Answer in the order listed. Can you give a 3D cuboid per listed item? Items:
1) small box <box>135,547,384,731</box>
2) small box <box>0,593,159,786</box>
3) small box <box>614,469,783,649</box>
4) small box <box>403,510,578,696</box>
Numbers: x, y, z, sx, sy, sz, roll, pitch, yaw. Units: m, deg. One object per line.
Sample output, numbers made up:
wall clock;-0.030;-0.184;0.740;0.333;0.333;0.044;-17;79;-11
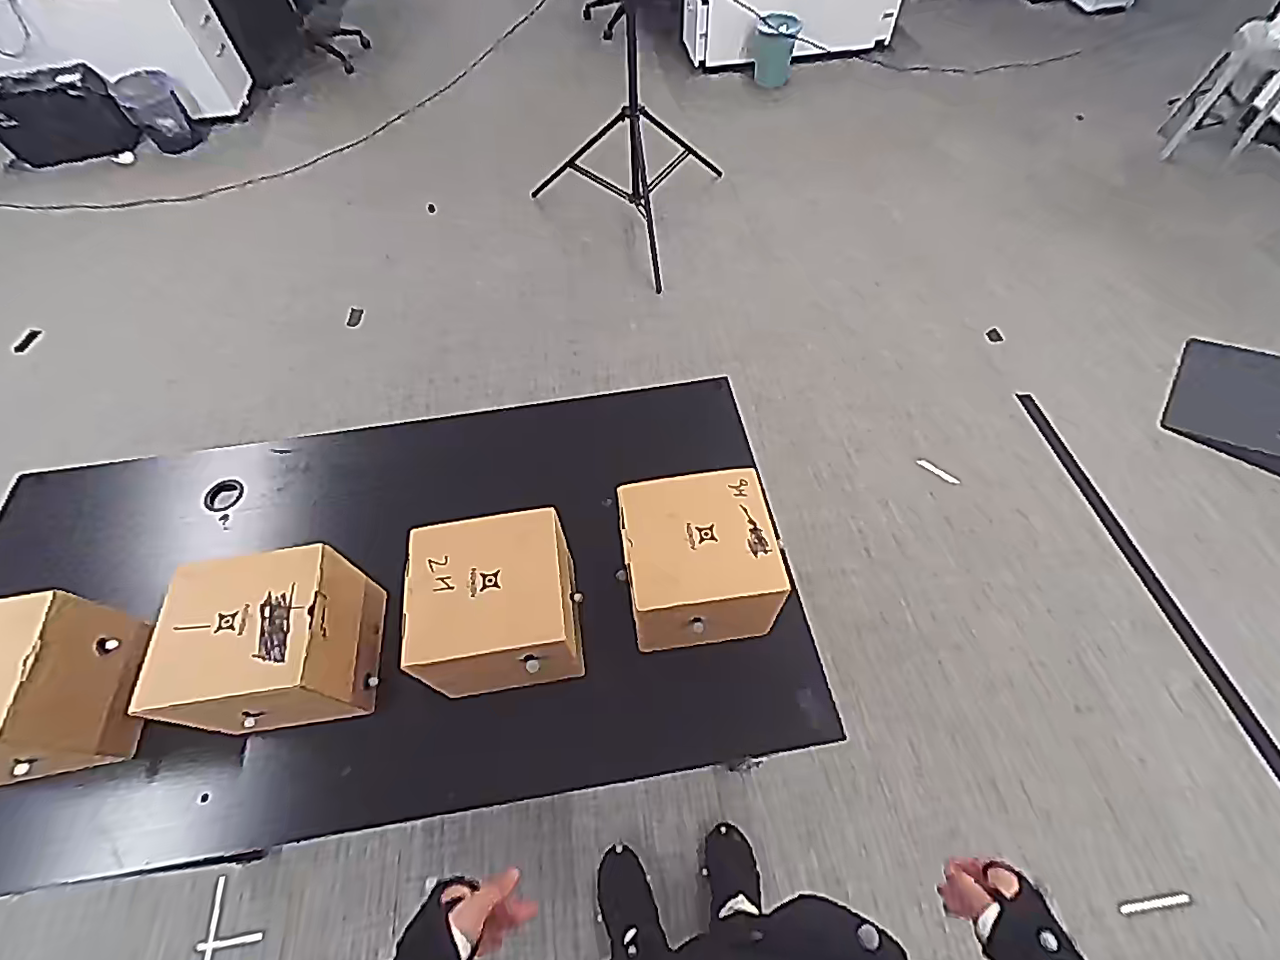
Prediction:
small box;-0.440;0.201;0.666;0.179;0.176;0.168;-9;58;-2
small box;-0.730;0.254;0.645;0.179;0.176;0.168;-11;58;-4
small box;0.069;0.109;0.702;0.179;0.176;0.168;-9;58;-1
small box;-0.175;0.159;0.679;0.179;0.176;0.168;-9;57;-4
